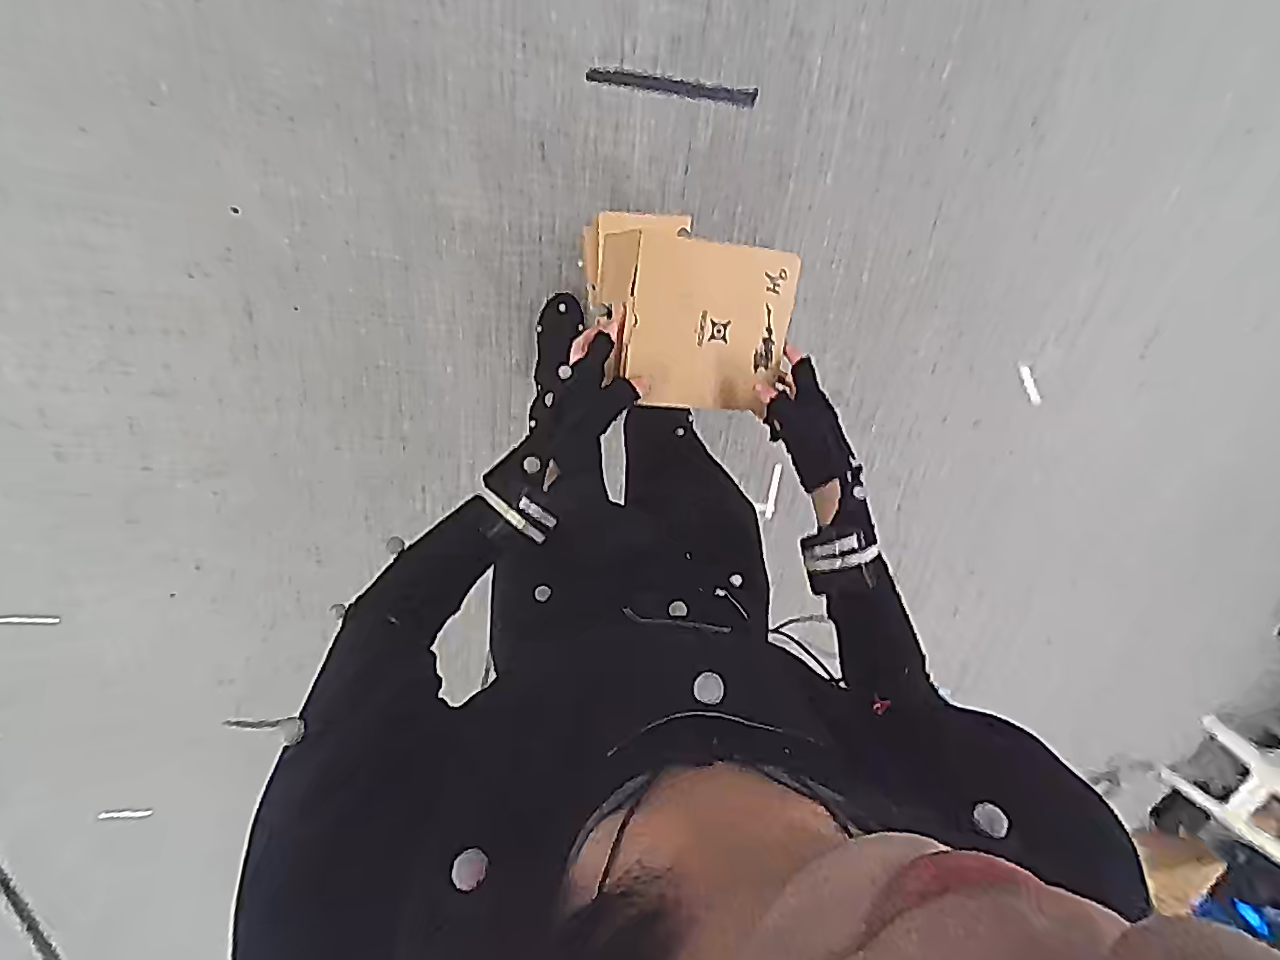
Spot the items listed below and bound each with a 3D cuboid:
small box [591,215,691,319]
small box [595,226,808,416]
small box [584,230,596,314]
[{"bbox_3d":[-0.006,-0.410,1.046,0.168,0.176,0.179,-1,114,-9],"label":"small box"},{"bbox_3d":[0.052,-0.178,0.605,0.179,0.176,0.168,2,112,-16],"label":"small box"},{"bbox_3d":[-0.032,-0.466,1.196,0.179,0.176,0.168,-4,115,-5],"label":"small box"}]
